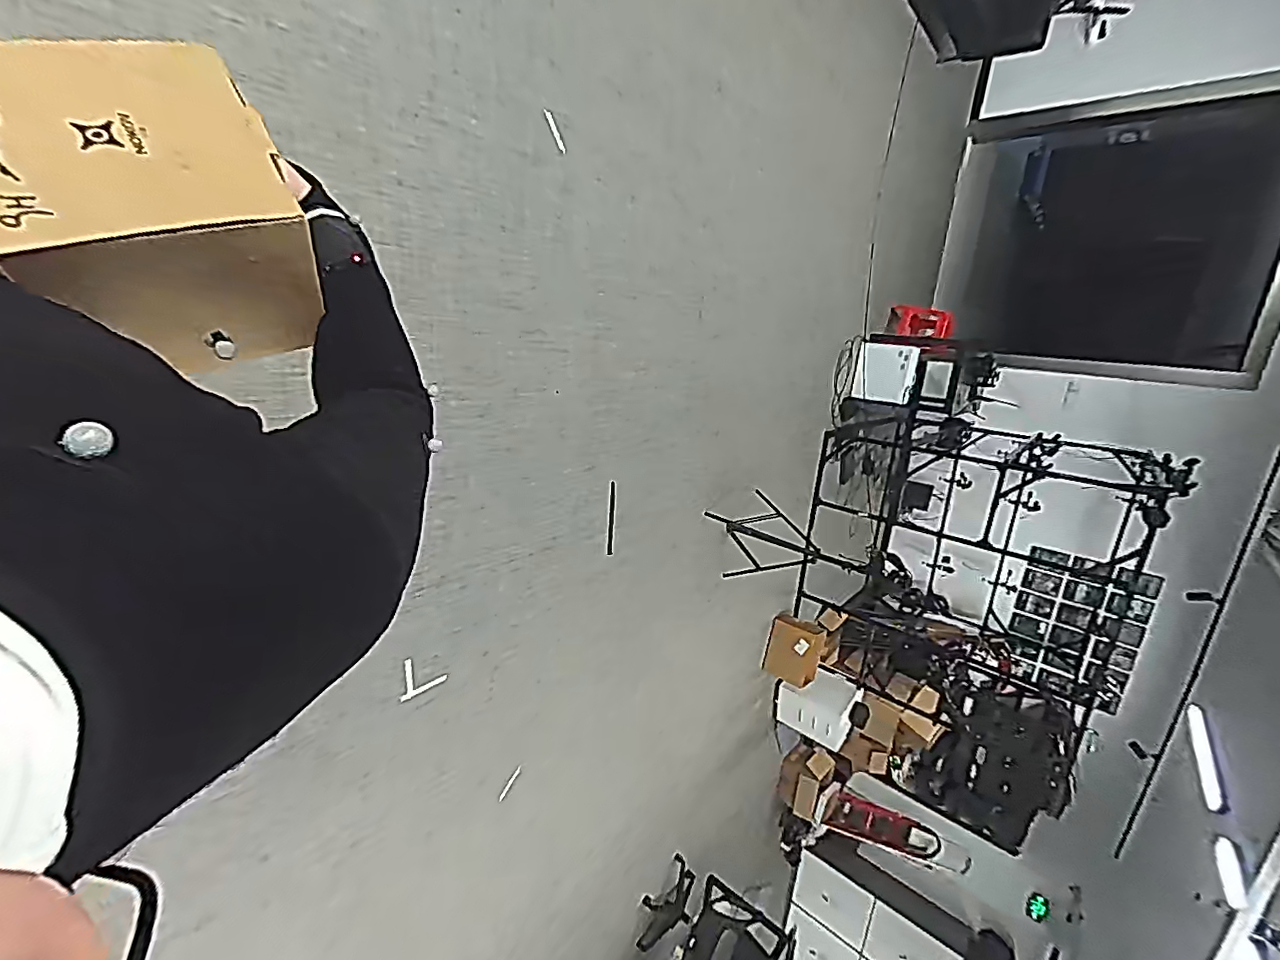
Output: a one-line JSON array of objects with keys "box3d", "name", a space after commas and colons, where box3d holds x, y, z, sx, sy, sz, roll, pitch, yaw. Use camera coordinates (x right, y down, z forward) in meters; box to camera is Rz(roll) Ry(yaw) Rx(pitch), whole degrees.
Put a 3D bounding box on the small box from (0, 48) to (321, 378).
[{"box3d": [-0.391, -0.212, 0.452, 0.179, 0.176, 0.168, -26, 81, -30], "name": "small box"}]
